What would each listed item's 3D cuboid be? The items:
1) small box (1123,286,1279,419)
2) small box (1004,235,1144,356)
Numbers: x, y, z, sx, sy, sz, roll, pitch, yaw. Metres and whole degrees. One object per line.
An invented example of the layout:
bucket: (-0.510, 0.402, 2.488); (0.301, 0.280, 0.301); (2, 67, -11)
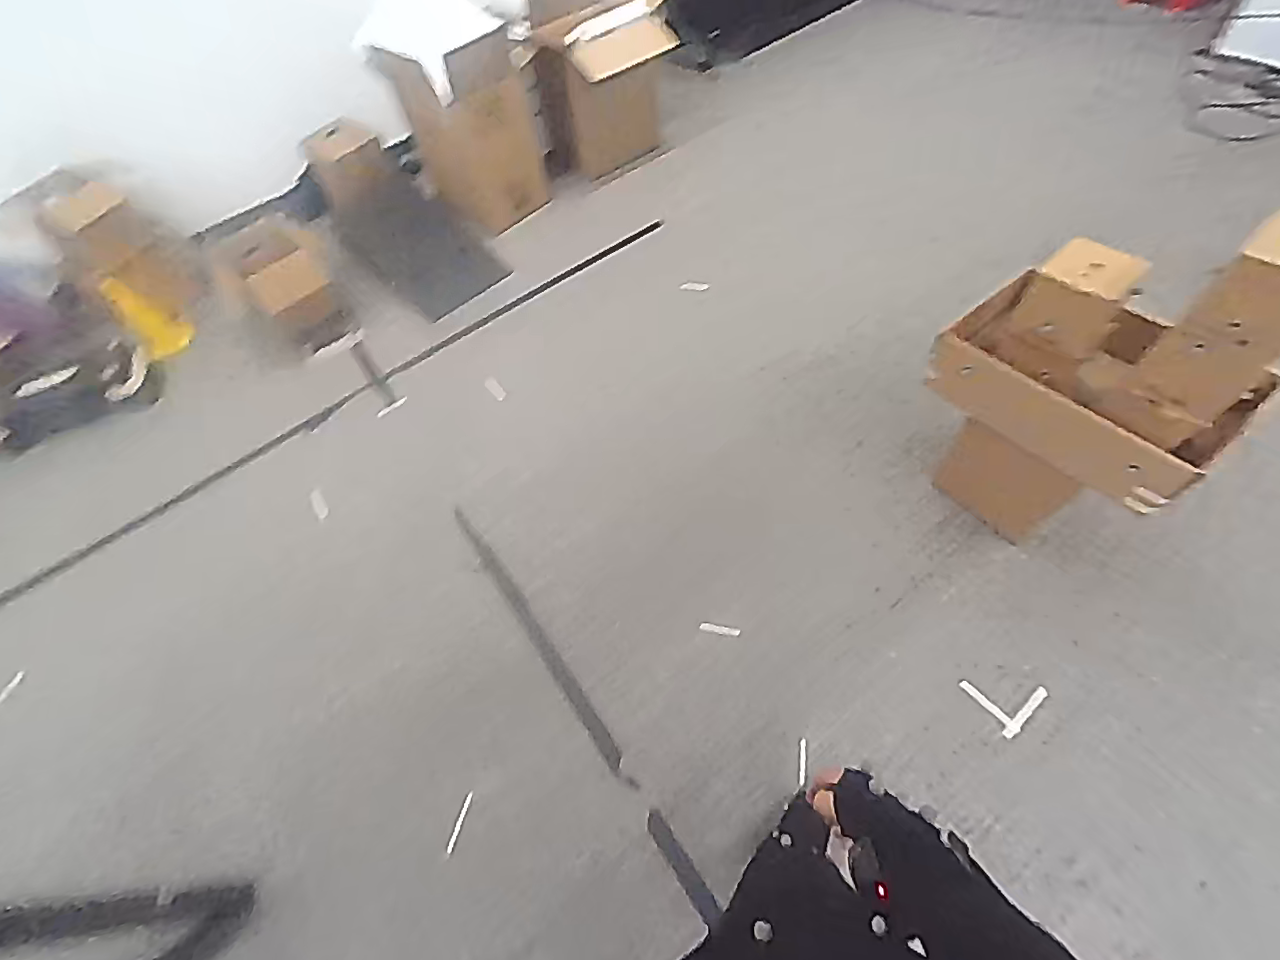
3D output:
small box: (1.173, -0.262, 1.122); (0.179, 0.176, 0.168); (-32, 57, -14)
small box: (0.998, -0.428, 1.261); (0.179, 0.176, 0.168); (-39, 61, -17)
